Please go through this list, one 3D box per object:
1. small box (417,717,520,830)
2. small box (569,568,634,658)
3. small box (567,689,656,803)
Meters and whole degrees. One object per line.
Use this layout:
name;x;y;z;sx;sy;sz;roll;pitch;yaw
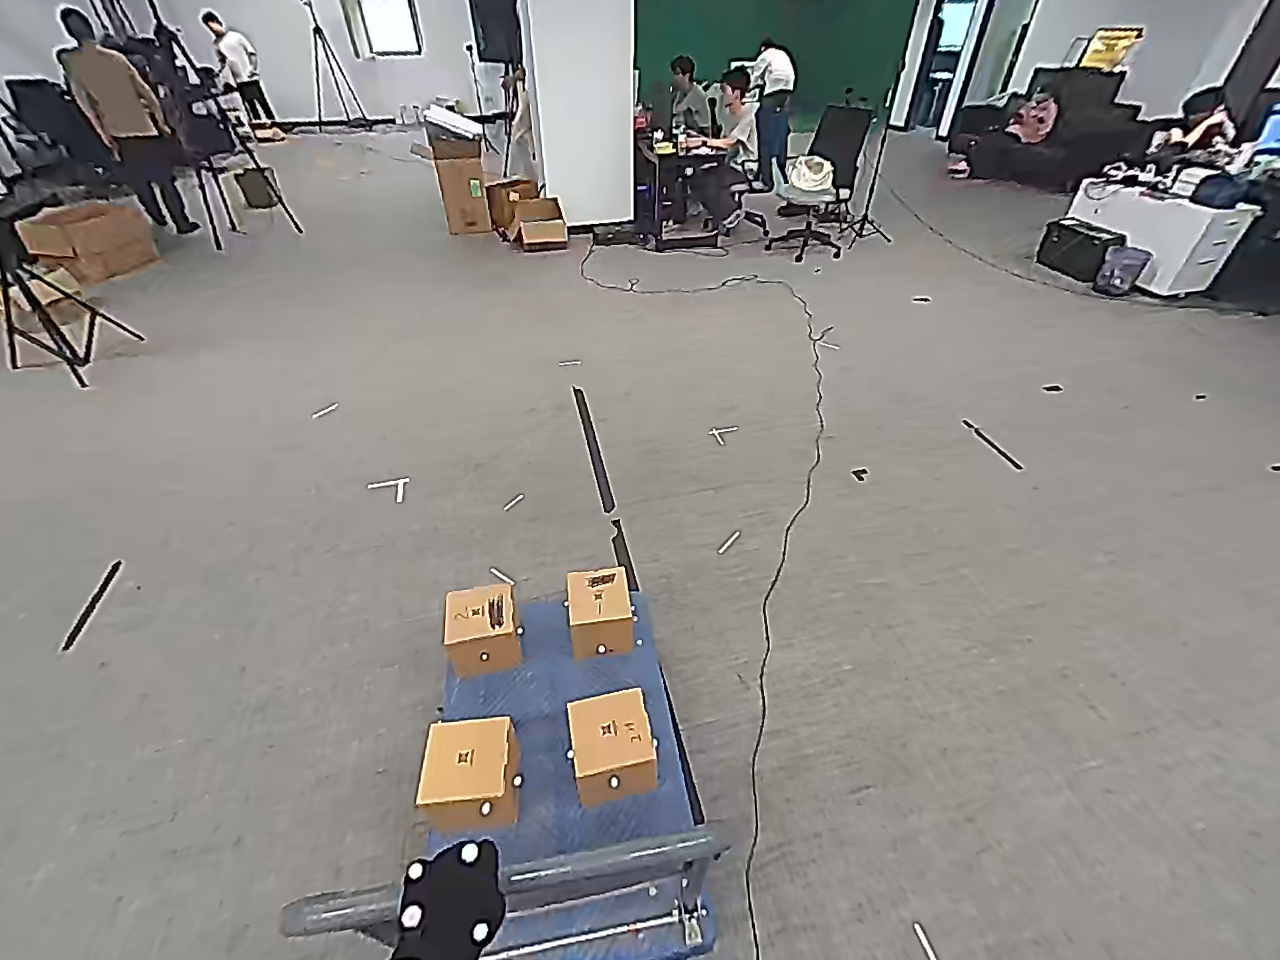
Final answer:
small box;-0.368;0.648;1.192;0.179;0.176;0.168;-3;40;-5
small box;-0.109;0.371;1.514;0.168;0.176;0.179;-5;42;-6
small box;-0.063;0.609;1.233;0.179;0.176;0.168;-8;41;-8
